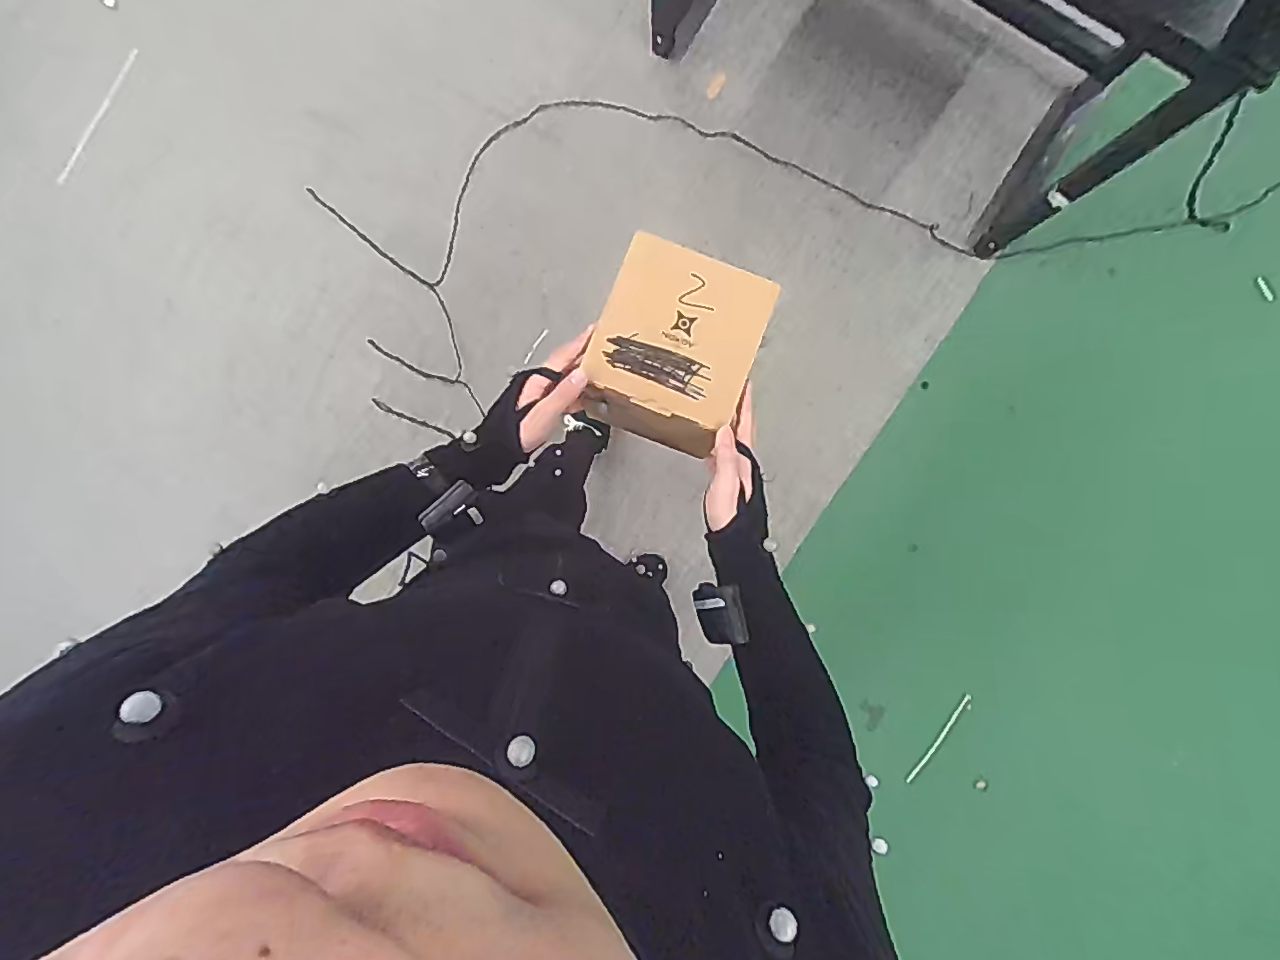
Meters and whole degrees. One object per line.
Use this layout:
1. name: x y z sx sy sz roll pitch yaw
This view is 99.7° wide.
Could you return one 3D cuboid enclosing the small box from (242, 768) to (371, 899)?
1. small box: -0.816 0.865 1.344 0.179 0.176 0.168 39 92 2
